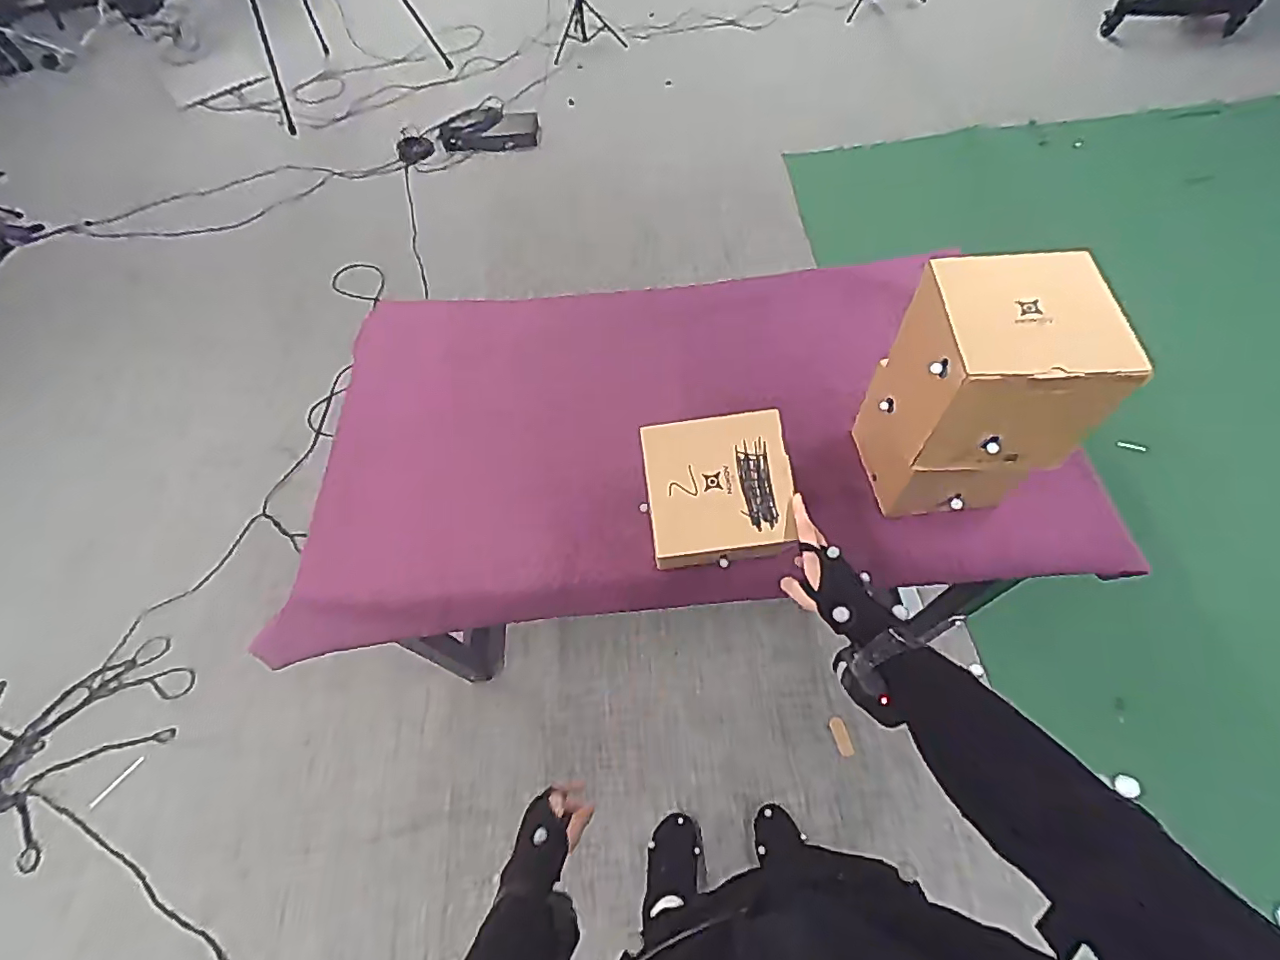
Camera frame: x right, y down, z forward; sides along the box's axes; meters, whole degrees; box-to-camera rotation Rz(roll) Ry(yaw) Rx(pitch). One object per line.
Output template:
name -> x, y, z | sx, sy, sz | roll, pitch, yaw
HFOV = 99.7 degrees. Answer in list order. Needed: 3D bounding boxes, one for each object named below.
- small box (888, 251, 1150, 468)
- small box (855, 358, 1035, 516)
small box -> 0.401, -0.132, 0.617 | 0.168, 0.176, 0.179 | -1, 59, 7
small box -> 0.430, -0.064, 0.764 | 0.179, 0.176, 0.168 | -7, 57, 2
